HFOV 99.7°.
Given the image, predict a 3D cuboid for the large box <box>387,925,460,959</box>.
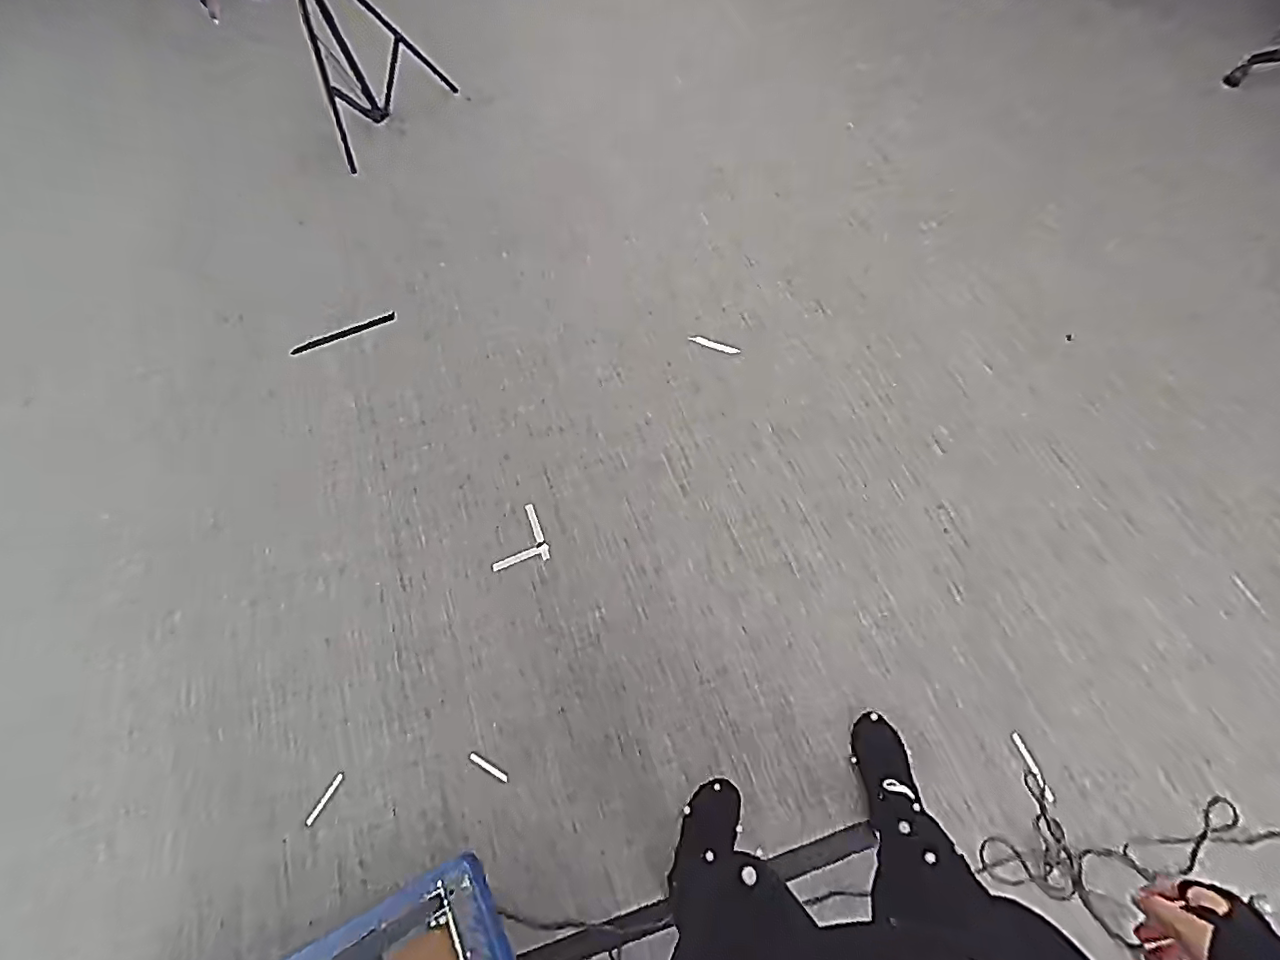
[{"bbox_3d":[-0.414,1.001,0.793,0.320,0.320,0.408,-27,65,-8],"label":"large box"}]
